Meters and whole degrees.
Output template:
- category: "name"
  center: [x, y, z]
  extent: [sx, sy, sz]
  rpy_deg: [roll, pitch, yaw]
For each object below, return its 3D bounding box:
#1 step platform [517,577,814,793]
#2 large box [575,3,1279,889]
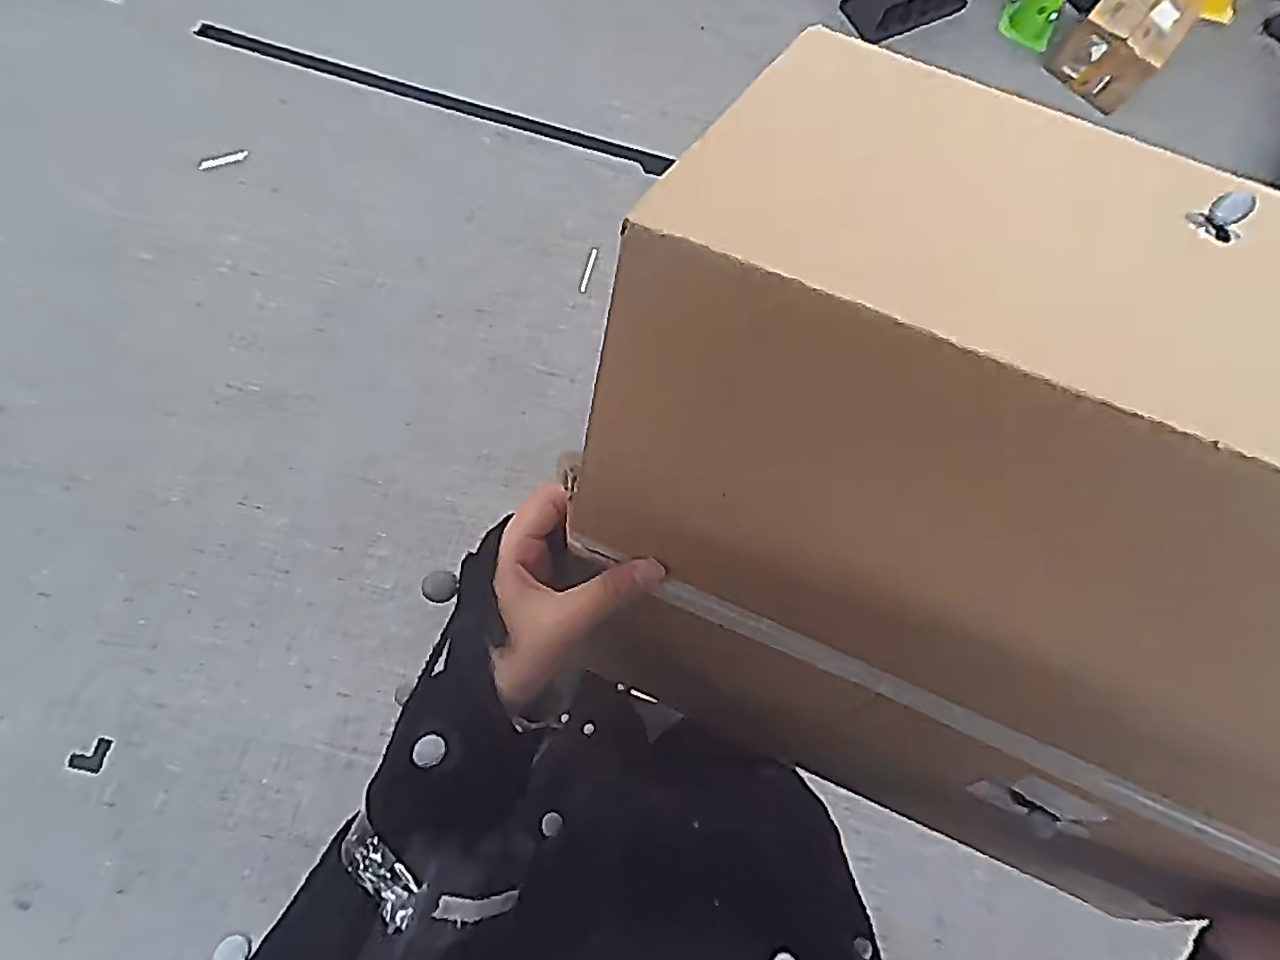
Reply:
- category: "step platform"
  center: [0.066, 0.468, 1.267]
  extent: [0.684, 0.204, 0.286]
  rpy_deg: [21, 75, -3]
- category: "large box"
  center: [0.213, -0.025, 0.328]
  extent: [0.408, 0.320, 0.320]
  rpy_deg: [23, 51, 5]
